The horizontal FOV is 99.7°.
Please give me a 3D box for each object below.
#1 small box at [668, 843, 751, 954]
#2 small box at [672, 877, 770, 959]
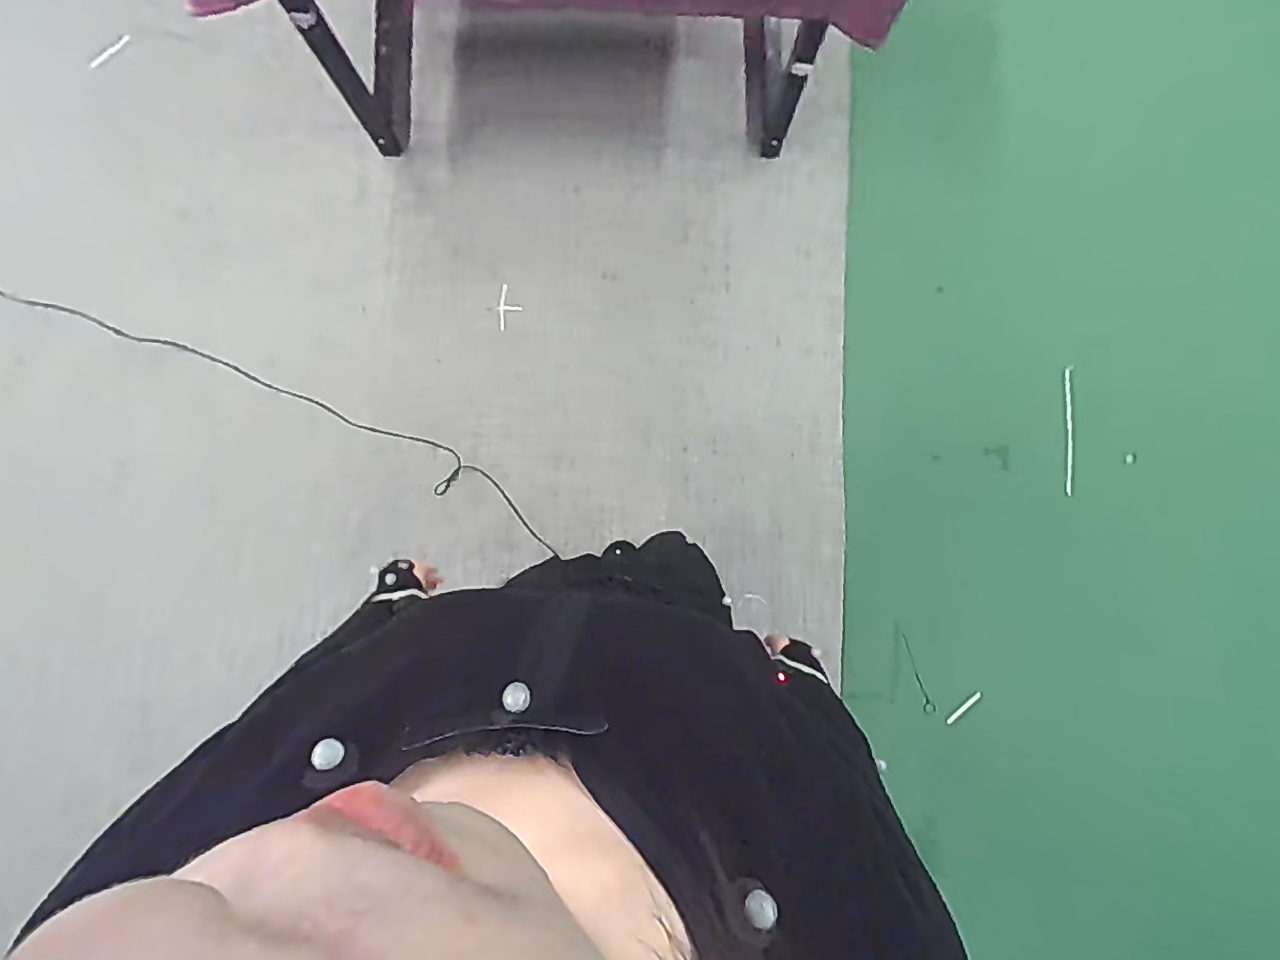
[{"bbox_3d":[0.161,1.015,1.303,0.168,0.176,0.179,7,84,0],"label":"small box"},{"bbox_3d":[0.163,0.985,1.141,0.168,0.176,0.179,9,85,0],"label":"small box"}]
